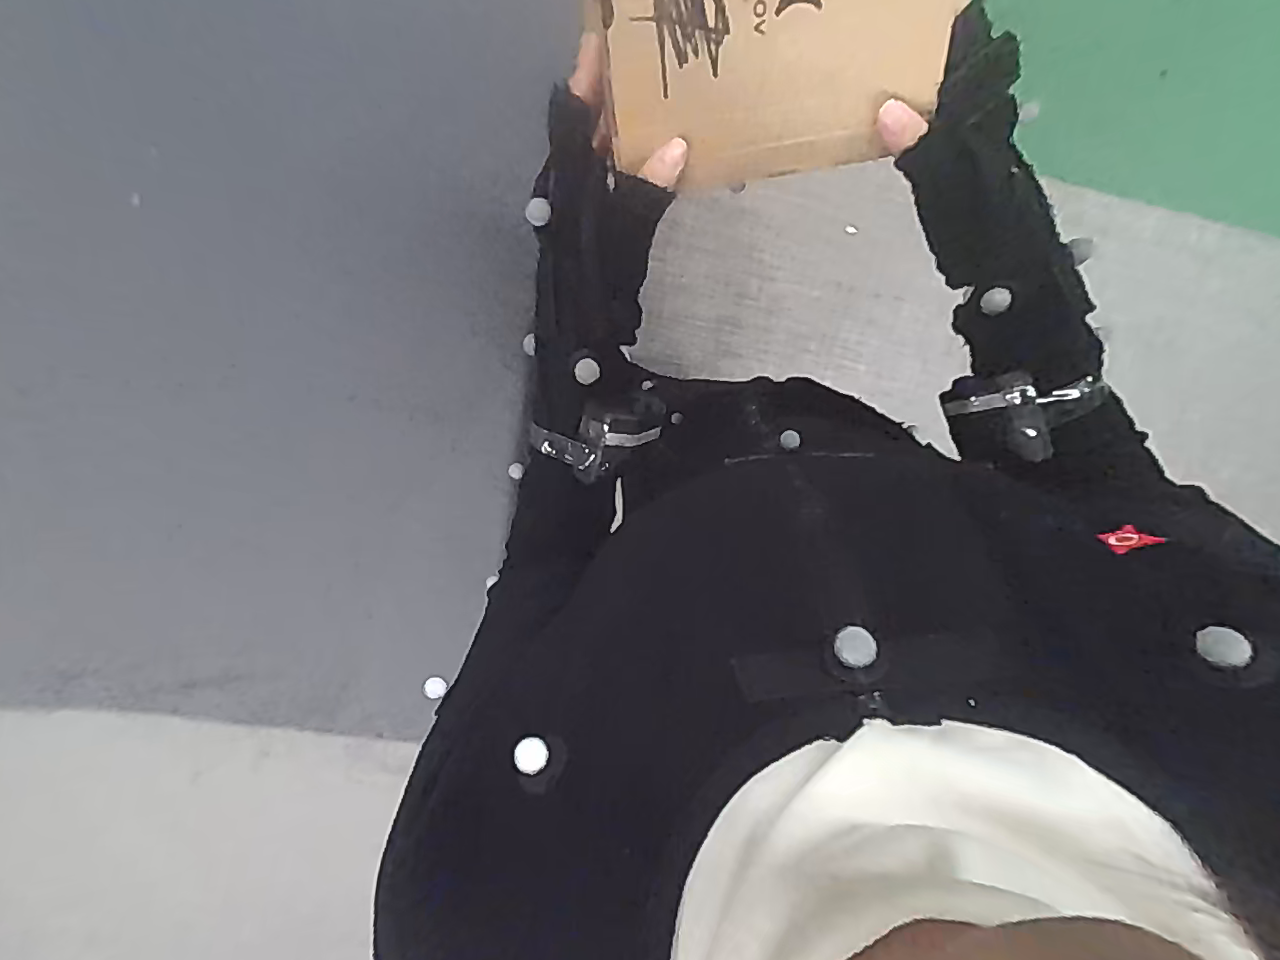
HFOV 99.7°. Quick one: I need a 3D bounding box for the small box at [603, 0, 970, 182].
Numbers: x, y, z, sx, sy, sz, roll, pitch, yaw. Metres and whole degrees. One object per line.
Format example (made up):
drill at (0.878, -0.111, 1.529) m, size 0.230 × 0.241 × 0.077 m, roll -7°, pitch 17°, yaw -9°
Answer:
small box at (0.066, -0.288, 0.313) m, size 0.179 × 0.176 × 0.168 m, roll -9°, pitch 130°, yaw -1°
